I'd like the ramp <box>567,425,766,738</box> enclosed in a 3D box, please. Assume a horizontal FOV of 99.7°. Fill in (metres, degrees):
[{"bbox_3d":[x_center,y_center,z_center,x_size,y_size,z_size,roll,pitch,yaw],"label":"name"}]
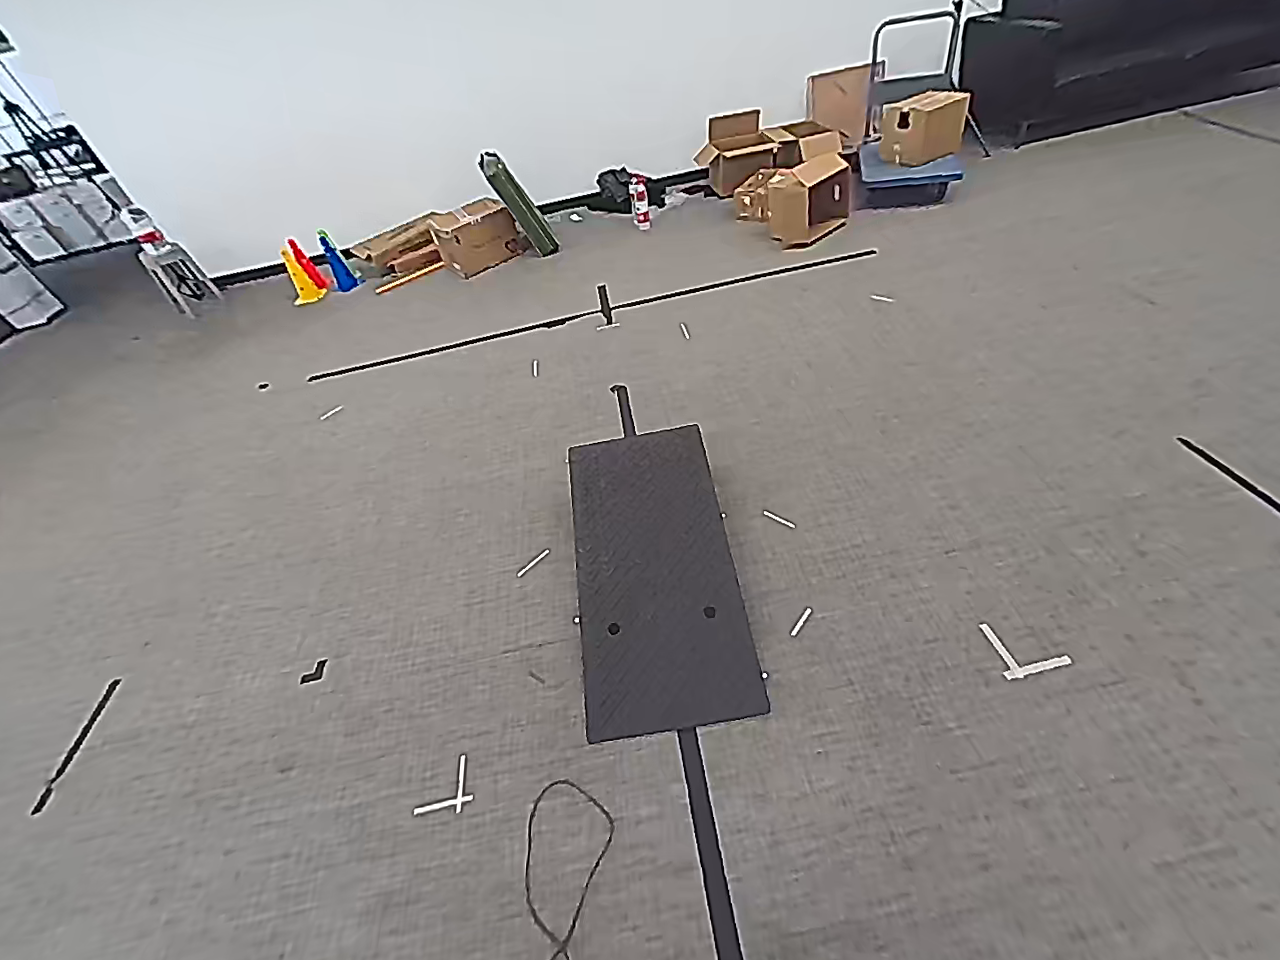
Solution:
[{"bbox_3d":[0.036,0.243,1.710,0.509,0.206,0.991,-11,45,0],"label":"ramp"}]
